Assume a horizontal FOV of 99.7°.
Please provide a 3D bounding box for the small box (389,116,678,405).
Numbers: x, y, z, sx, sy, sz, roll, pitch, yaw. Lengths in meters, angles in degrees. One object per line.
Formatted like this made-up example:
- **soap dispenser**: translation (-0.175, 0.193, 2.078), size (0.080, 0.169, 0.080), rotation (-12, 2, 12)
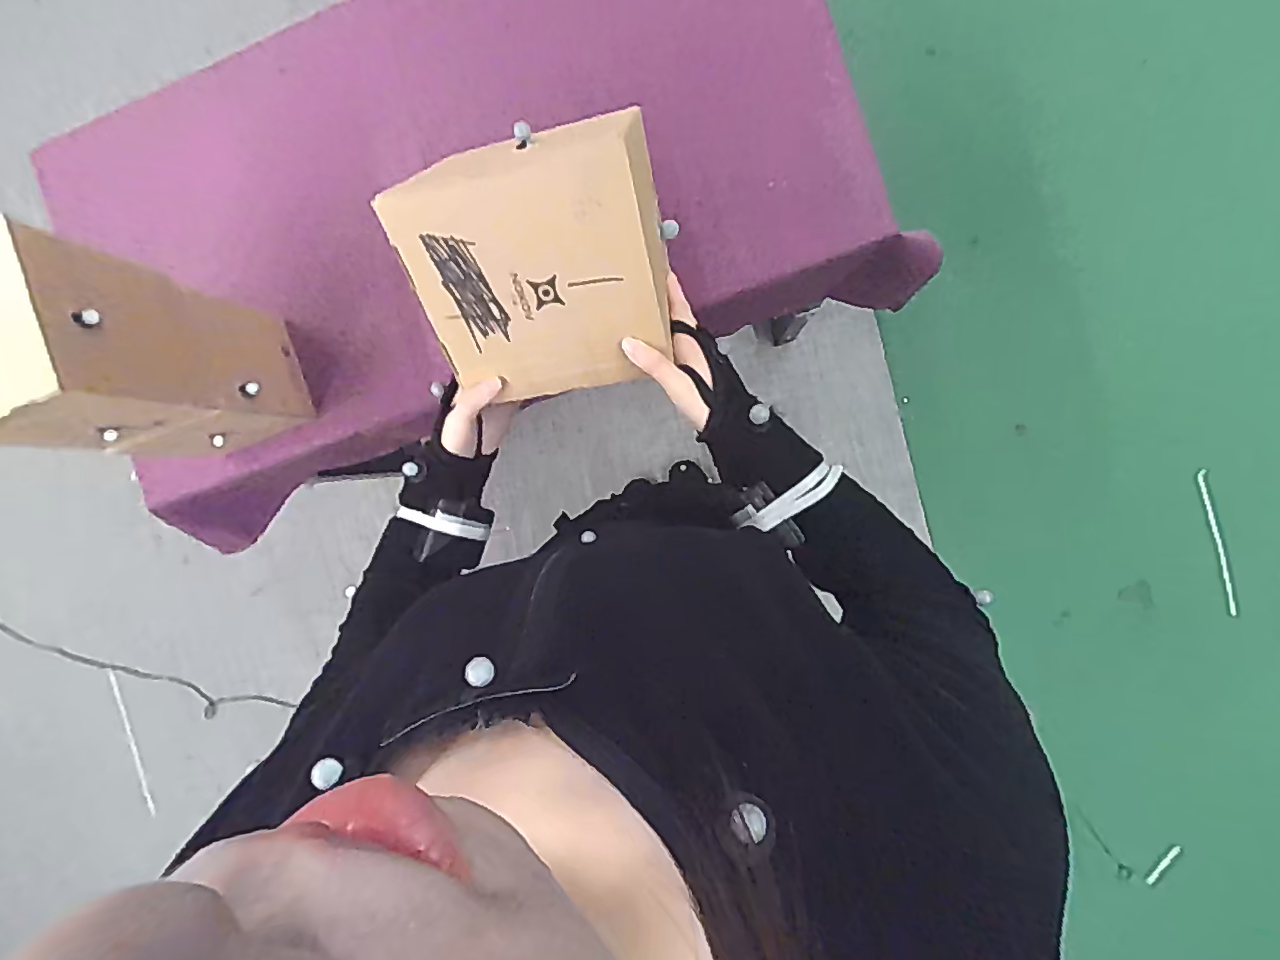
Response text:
- **small box**: translation (-0.064, -0.186, 0.455), size (0.179, 0.176, 0.168), rotation (-8, 129, 10)

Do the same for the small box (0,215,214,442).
- **small box**: translation (-0.628, -0.147, 0.593), size (0.168, 0.176, 0.179), rotation (-18, 91, 7)
